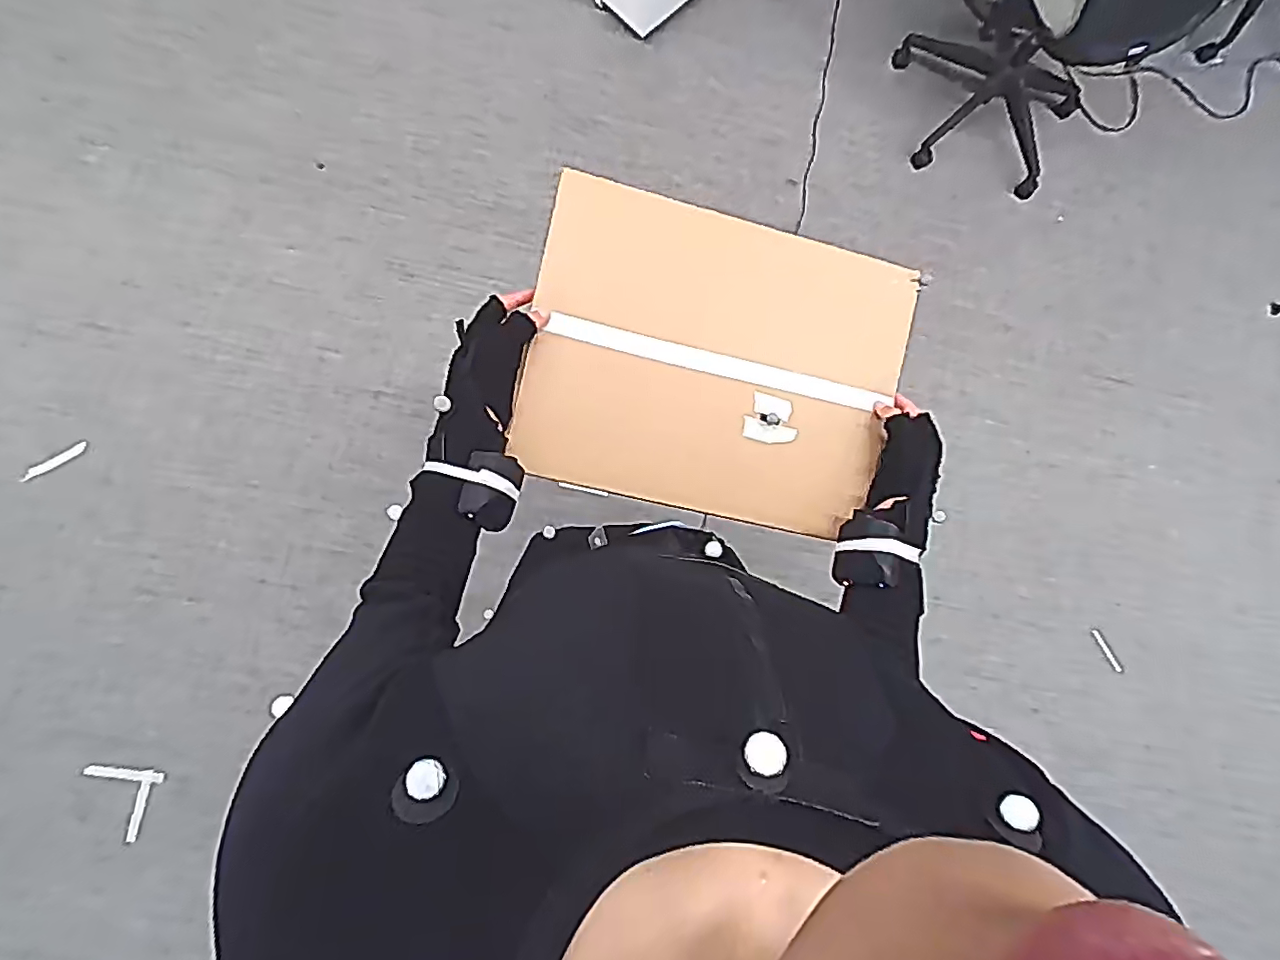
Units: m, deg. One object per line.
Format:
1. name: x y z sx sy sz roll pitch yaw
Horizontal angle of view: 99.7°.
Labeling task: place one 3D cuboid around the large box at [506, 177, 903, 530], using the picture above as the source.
1. large box: 0.058 -0.135 0.738 0.408 0.320 0.320 13 91 -8
